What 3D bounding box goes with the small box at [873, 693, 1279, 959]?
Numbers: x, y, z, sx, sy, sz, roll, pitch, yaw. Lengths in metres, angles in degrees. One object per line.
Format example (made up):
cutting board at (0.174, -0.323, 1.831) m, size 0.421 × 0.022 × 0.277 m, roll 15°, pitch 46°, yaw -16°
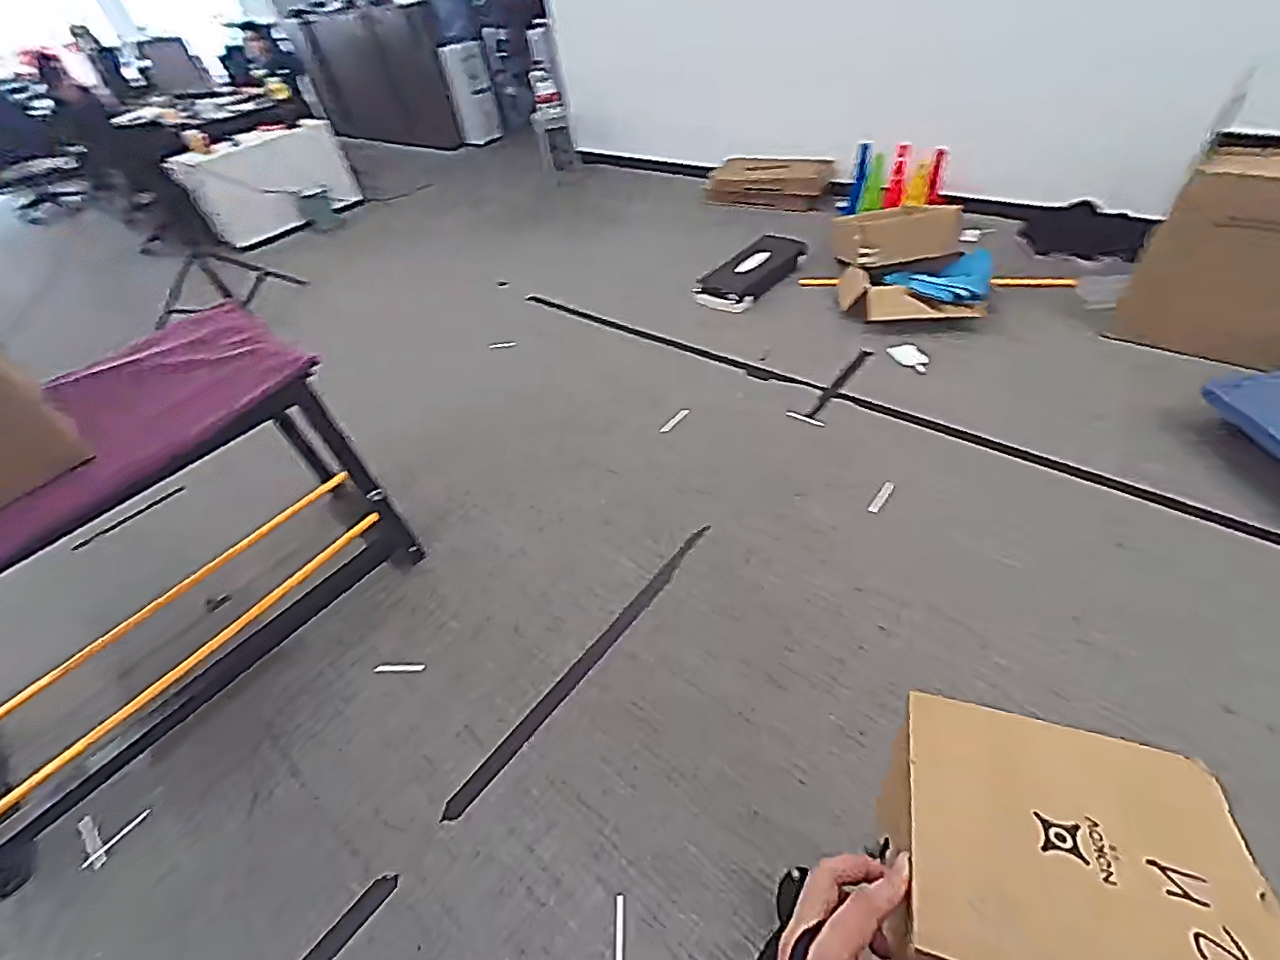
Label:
small box at (0.252, 0.276, 0.349) m, size 0.179 × 0.176 × 0.168 m, roll 7°, pitch 33°, yaw 20°
